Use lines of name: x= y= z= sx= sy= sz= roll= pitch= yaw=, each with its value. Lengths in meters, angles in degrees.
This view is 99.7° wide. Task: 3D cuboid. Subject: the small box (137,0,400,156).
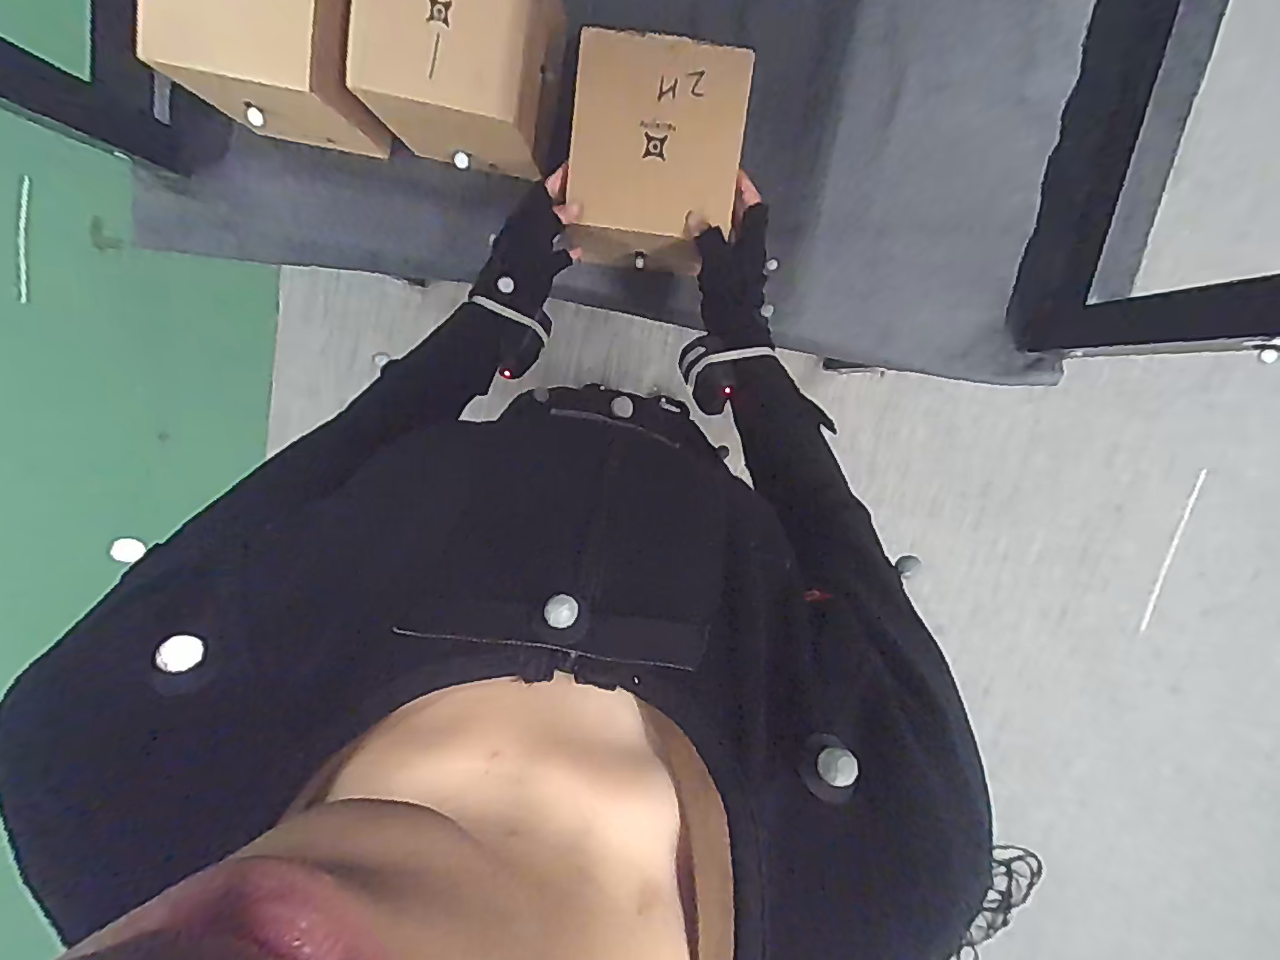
small box: x=-0.376 y=-0.478 z=0.574 sx=0.168 sy=0.176 sz=0.179 roll=10 pitch=100 yaw=-2

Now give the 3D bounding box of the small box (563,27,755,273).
small box: x=0.017 y=-0.339 z=0.595 sx=0.168 sy=0.176 sz=0.179 roll=7 pitch=99 yaw=-2
